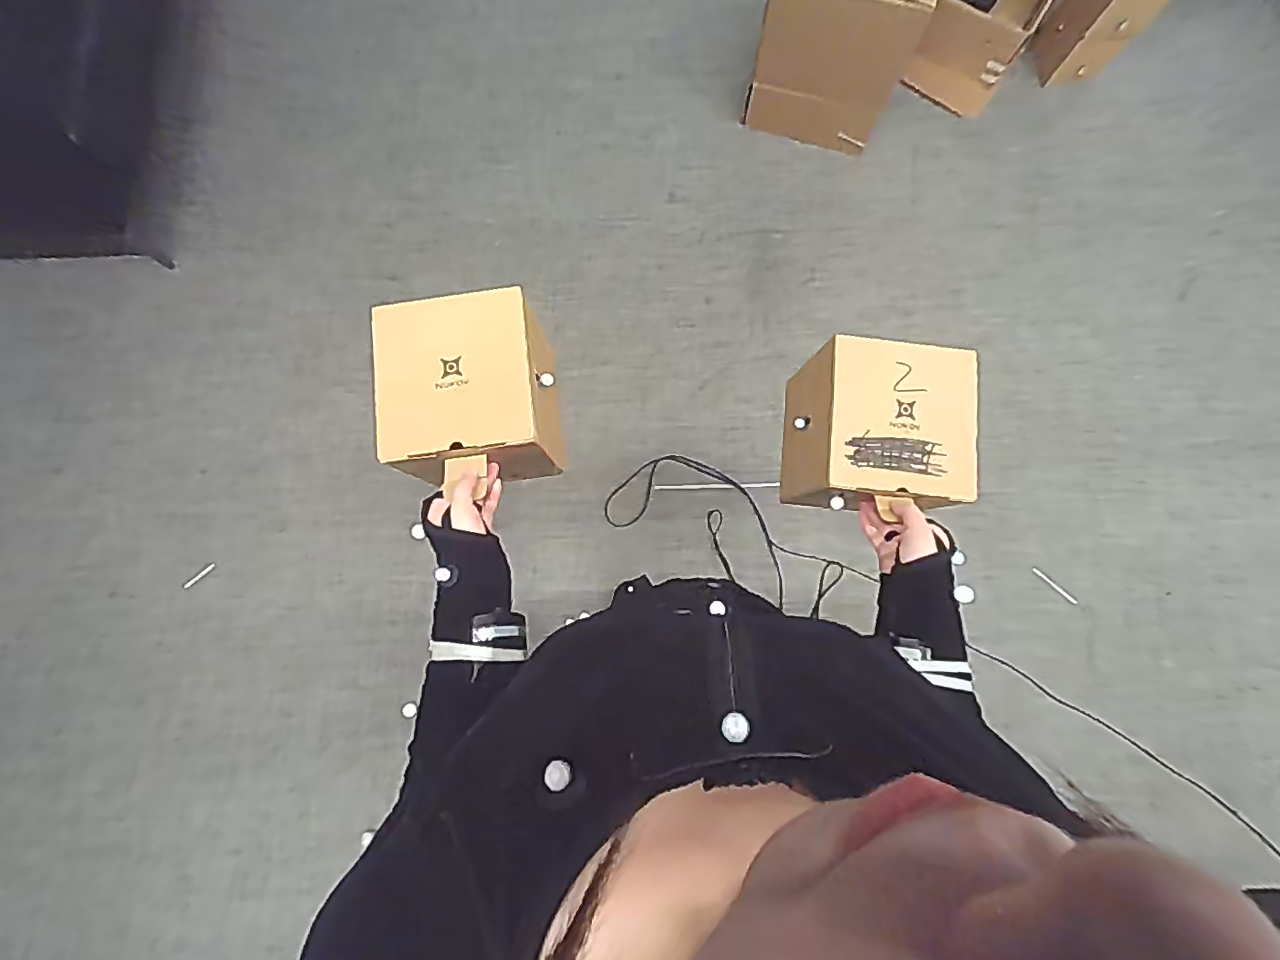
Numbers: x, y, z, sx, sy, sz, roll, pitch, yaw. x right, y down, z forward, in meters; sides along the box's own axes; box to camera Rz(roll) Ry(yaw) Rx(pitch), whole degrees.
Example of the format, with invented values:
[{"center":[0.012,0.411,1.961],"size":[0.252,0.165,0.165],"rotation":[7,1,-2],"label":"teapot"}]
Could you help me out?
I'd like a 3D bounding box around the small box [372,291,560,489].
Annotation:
[{"center":[-0.195,-0.095,0.642],"size":[0.168,0.176,0.179],"rotation":[-8,80,1],"label":"small box"}]
